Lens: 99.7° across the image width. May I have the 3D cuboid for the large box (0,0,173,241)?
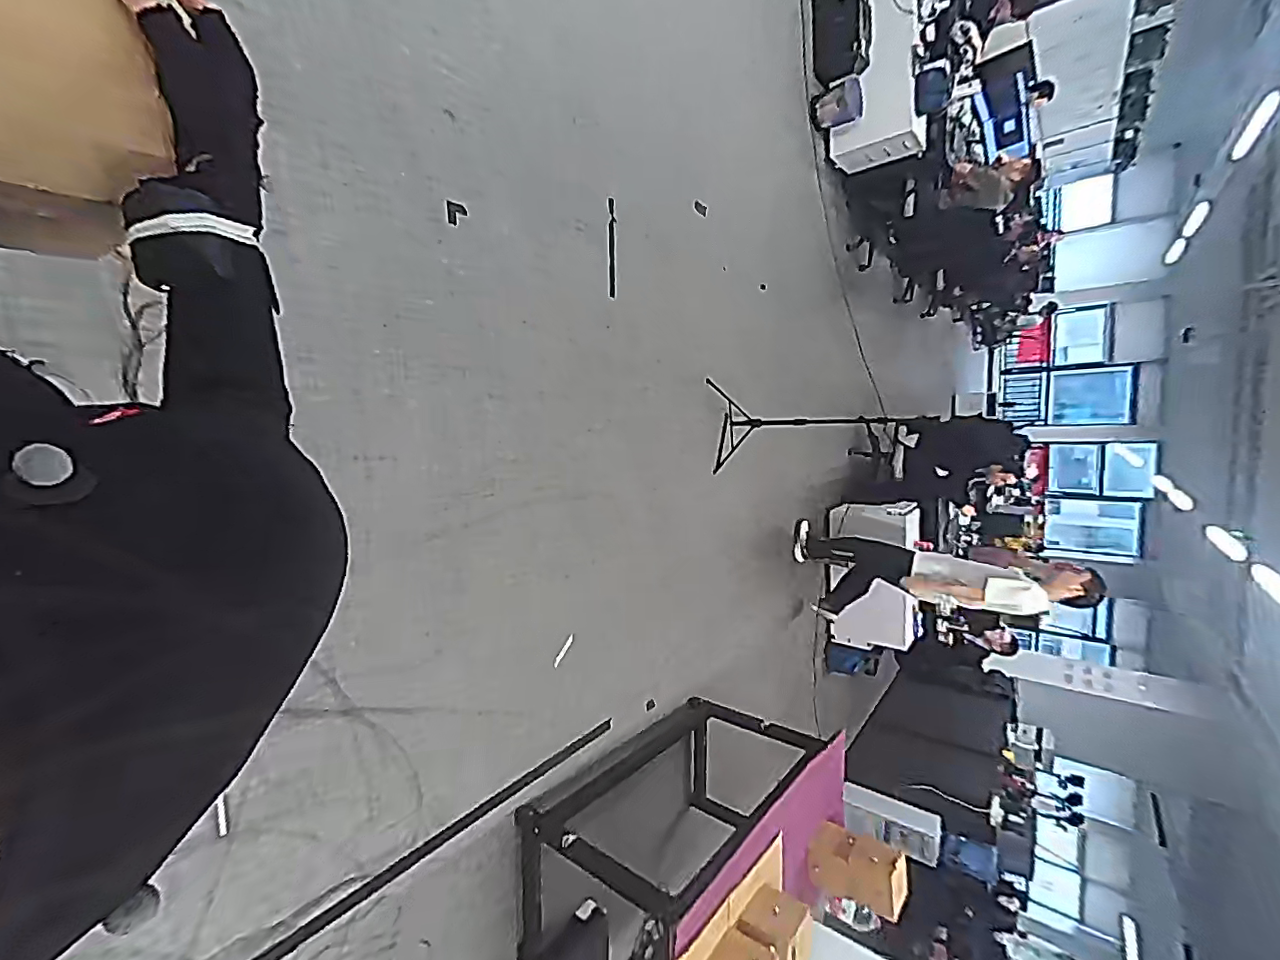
[{"bbox_3d":[-0.595,-0.361,0.320,0.408,0.320,0.320,-11,108,-53],"label":"large box"}]
